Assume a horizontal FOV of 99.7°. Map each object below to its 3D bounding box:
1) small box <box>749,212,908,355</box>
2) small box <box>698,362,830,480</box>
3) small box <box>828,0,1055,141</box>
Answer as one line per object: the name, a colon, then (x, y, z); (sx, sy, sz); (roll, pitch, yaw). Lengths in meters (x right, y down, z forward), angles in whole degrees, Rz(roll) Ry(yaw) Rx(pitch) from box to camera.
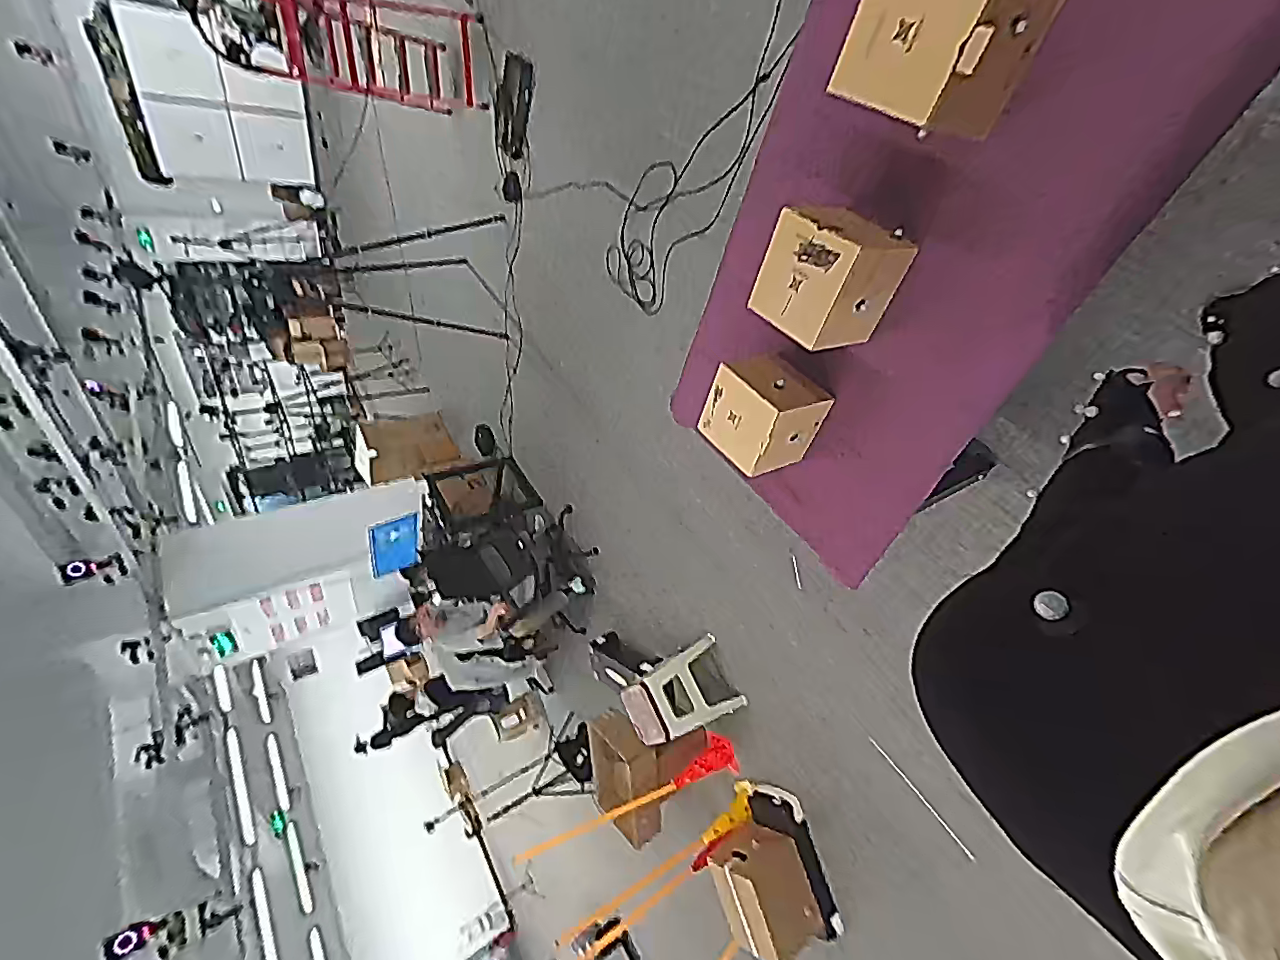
small box: (0.326, -0.341, 0.932); (0.168, 0.176, 0.179); (49, 140, 33)
small box: (0.256, -0.130, 1.122); (0.179, 0.176, 0.168); (48, 138, 32)
small box: (0.400, -0.575, 0.727); (0.179, 0.176, 0.168); (50, 140, 32)
